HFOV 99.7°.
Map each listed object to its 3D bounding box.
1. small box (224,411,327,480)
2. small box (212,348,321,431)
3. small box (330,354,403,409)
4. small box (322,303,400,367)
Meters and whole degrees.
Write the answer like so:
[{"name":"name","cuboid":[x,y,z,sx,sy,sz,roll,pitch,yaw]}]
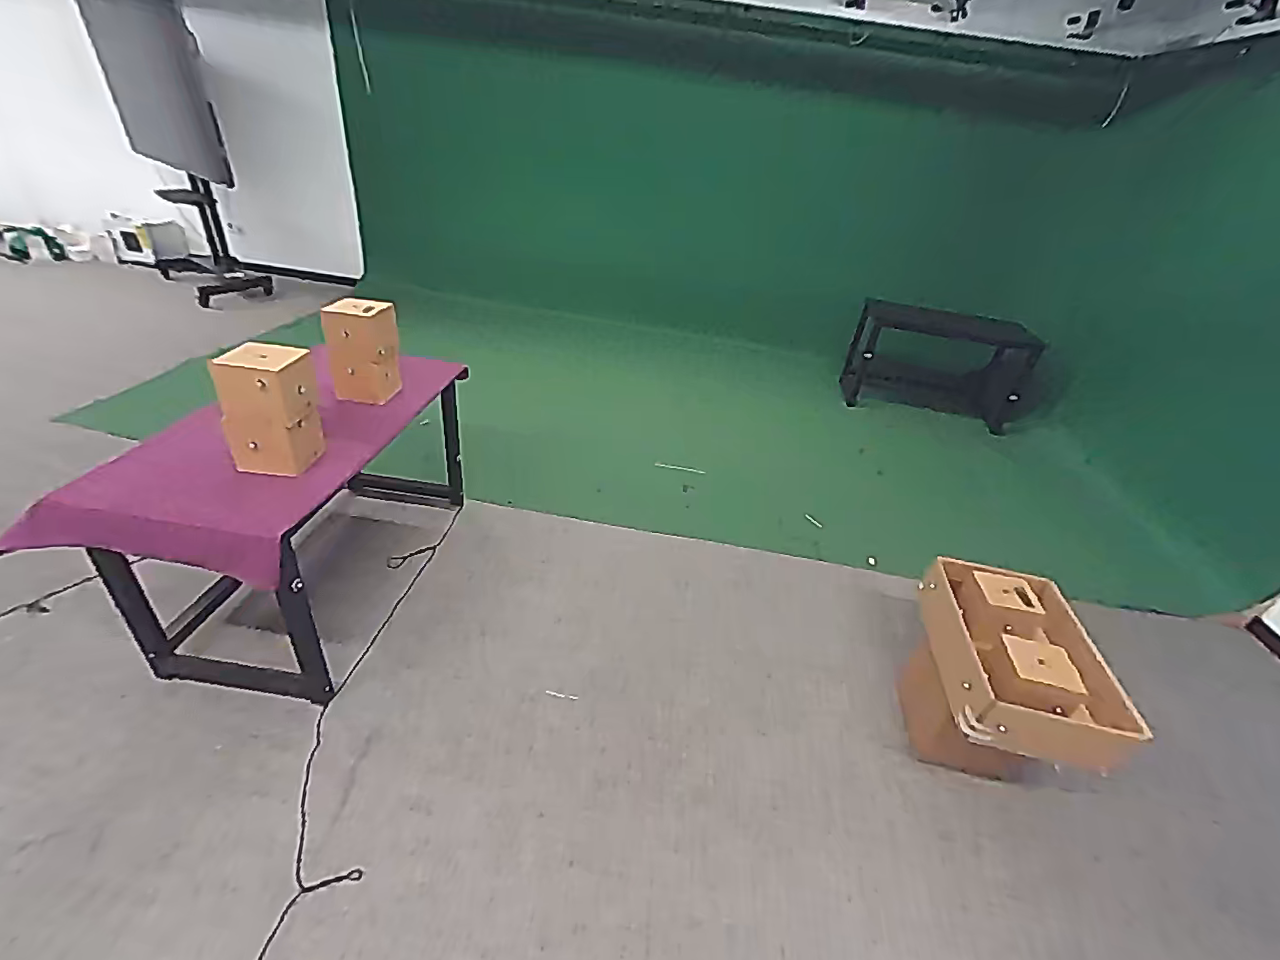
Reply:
[{"name":"small box","cuboid":[-1.061,-0.114,1.591,0.179,0.176,0.168,6,33,-3]},{"name":"small box","cuboid":[-1.024,-0.250,1.502,0.179,0.176,0.168,7,32,-2]},{"name":"small box","cuboid":[-1.006,-0.377,2.010,0.179,0.176,0.168,7,33,1]},{"name":"small box","cuboid":[-0.981,-0.512,1.919,0.179,0.176,0.168,8,33,4]}]
